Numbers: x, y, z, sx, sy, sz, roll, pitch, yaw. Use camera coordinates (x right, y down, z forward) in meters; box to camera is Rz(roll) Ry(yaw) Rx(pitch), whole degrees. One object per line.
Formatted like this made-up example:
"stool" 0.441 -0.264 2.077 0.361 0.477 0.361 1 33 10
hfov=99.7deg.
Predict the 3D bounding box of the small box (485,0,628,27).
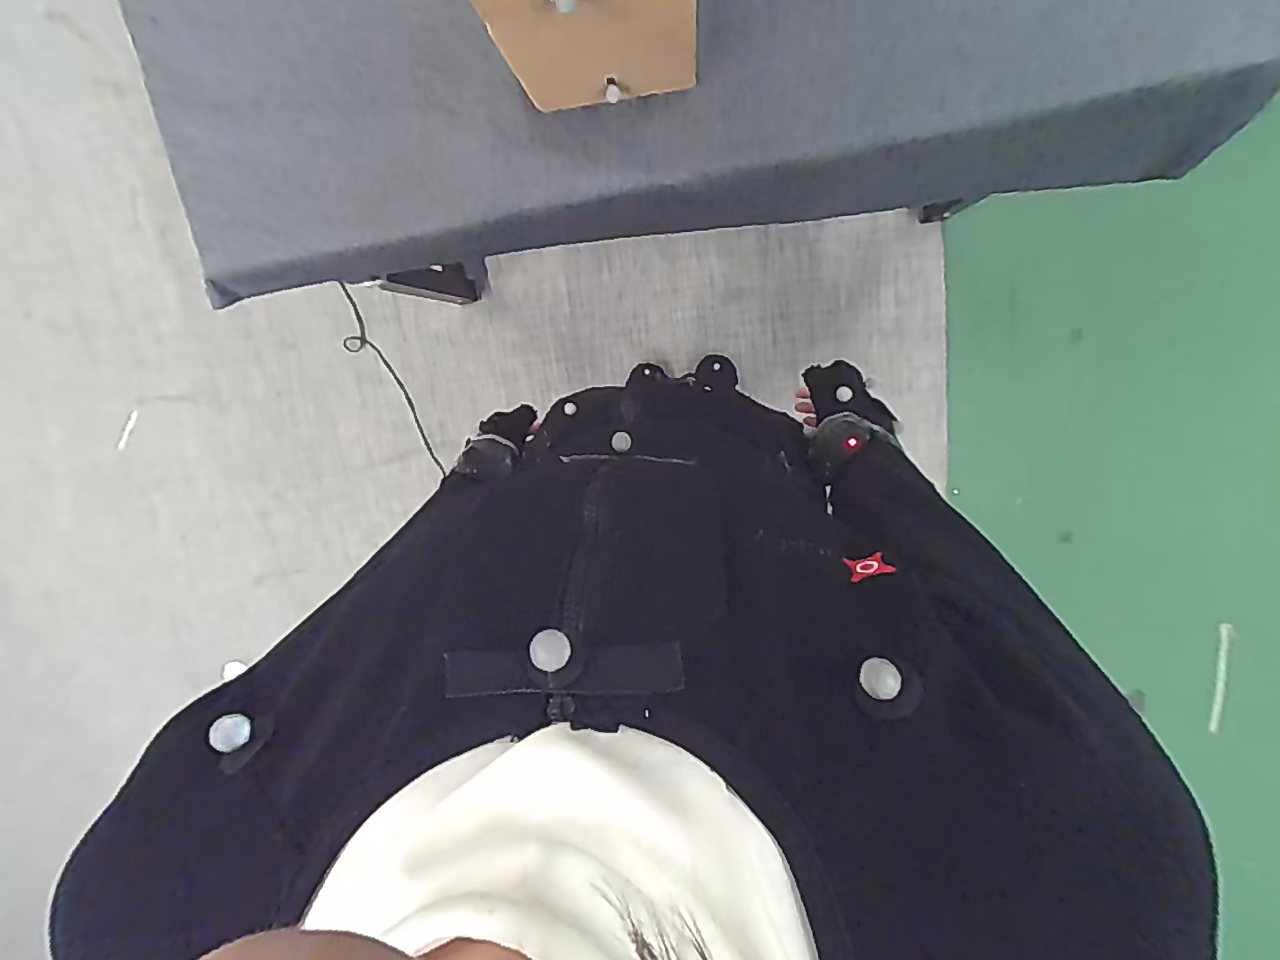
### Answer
"small box" -0.065 -0.448 0.344 0.168 0.176 0.179 -7 103 9

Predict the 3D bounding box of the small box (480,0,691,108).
"small box" -0.048 -0.482 0.502 0.179 0.176 0.168 -5 102 6
